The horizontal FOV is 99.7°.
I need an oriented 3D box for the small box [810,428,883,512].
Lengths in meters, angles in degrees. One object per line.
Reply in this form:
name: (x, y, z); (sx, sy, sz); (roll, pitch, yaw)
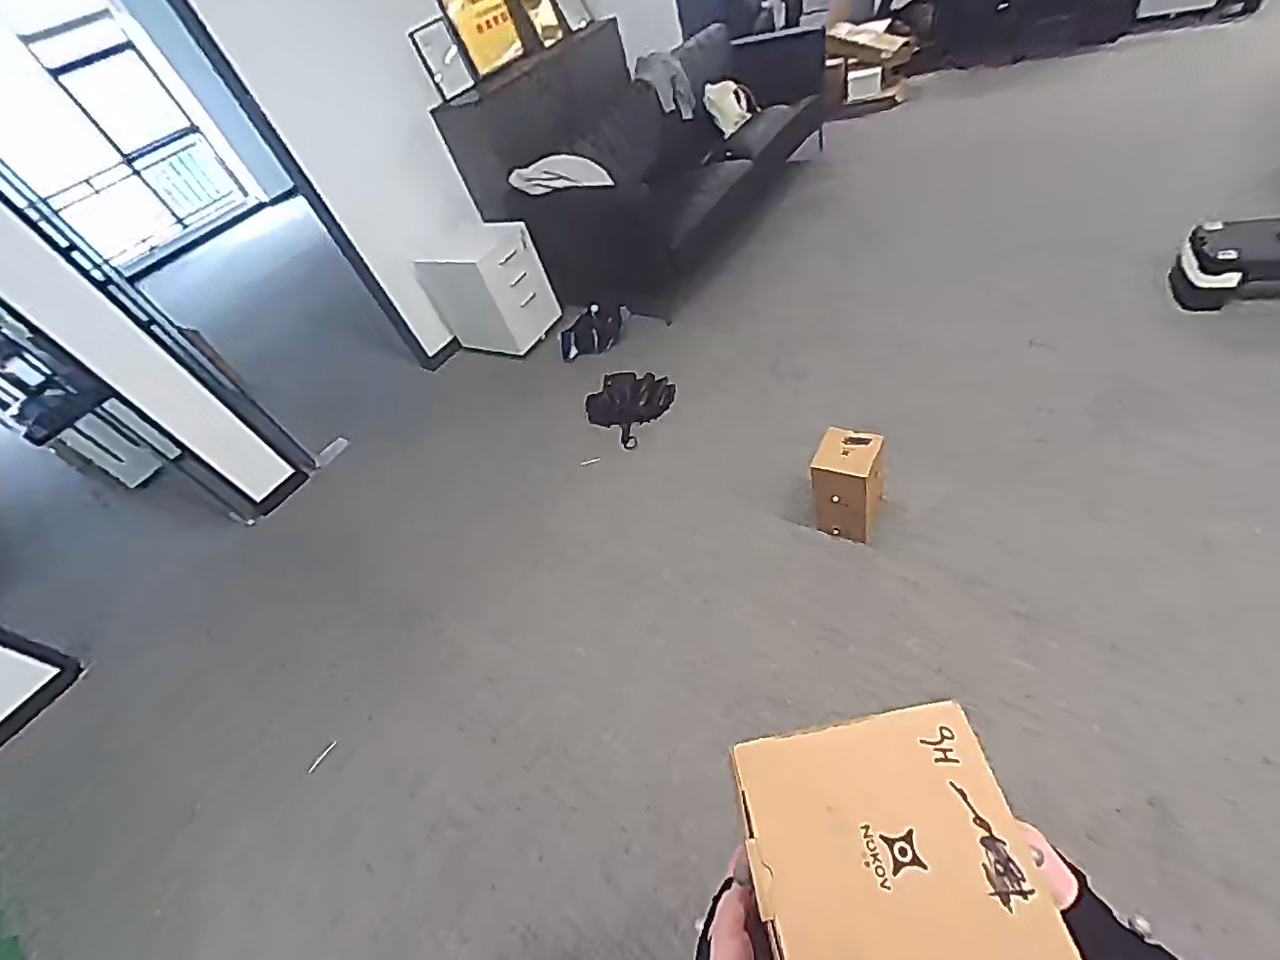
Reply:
small box: (0.634, -0.031, 1.657); (0.168, 0.176, 0.179); (14, 56, 33)

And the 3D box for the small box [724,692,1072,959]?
small box: (0.174, 0.288, 0.432); (0.179, 0.176, 0.168); (-13, 56, 2)

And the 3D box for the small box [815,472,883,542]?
small box: (0.687, 0.073, 1.774); (0.168, 0.176, 0.179); (14, 57, 33)
